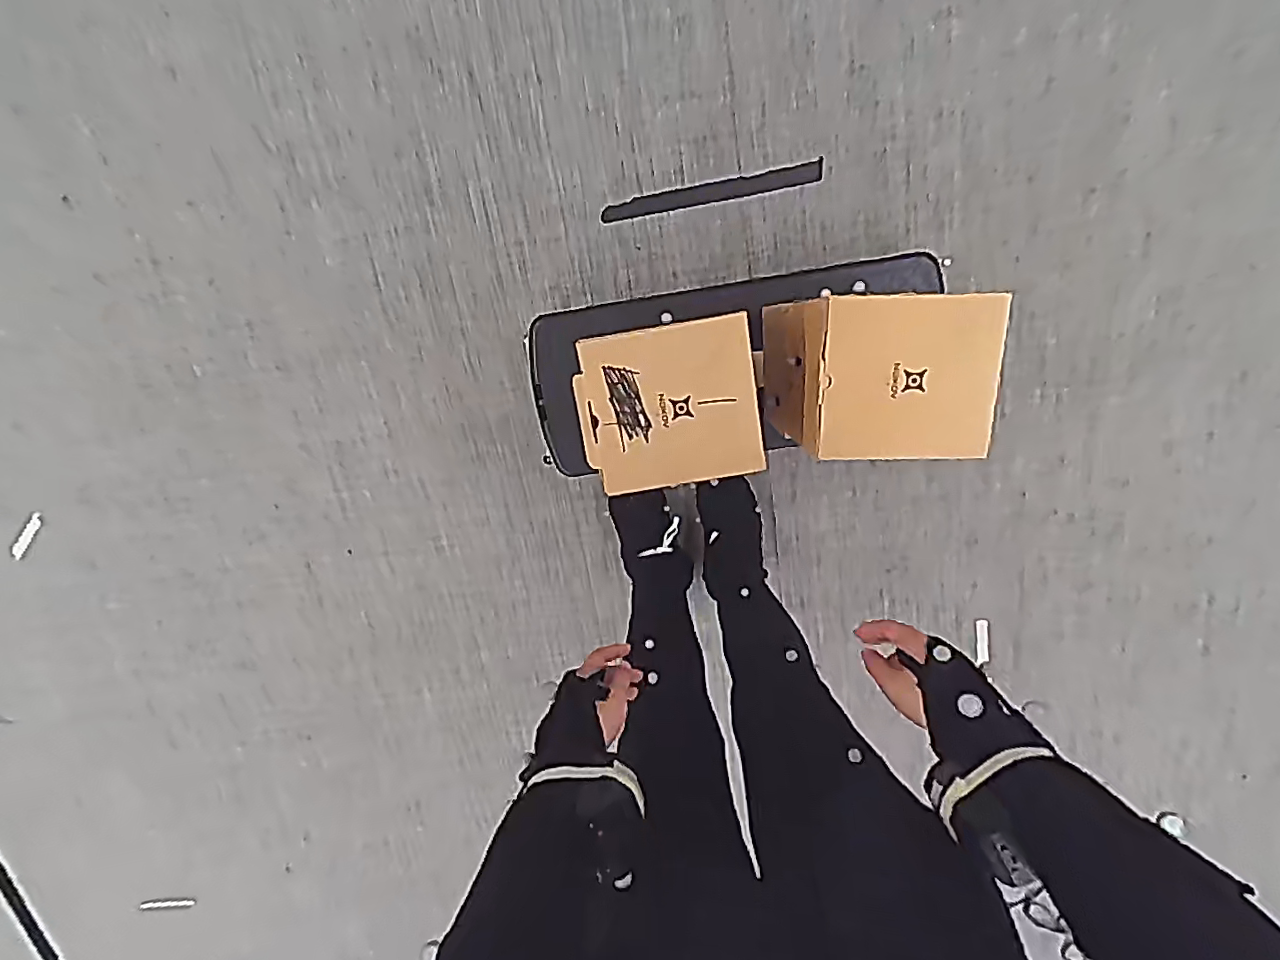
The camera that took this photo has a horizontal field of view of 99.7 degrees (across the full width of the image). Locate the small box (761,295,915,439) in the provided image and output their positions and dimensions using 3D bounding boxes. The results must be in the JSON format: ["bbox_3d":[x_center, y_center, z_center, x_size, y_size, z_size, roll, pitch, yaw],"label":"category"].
[{"bbox_3d":[0.270,-0.165,0.774,0.168,0.176,0.179,-4,105,4],"label":"small box"}]
